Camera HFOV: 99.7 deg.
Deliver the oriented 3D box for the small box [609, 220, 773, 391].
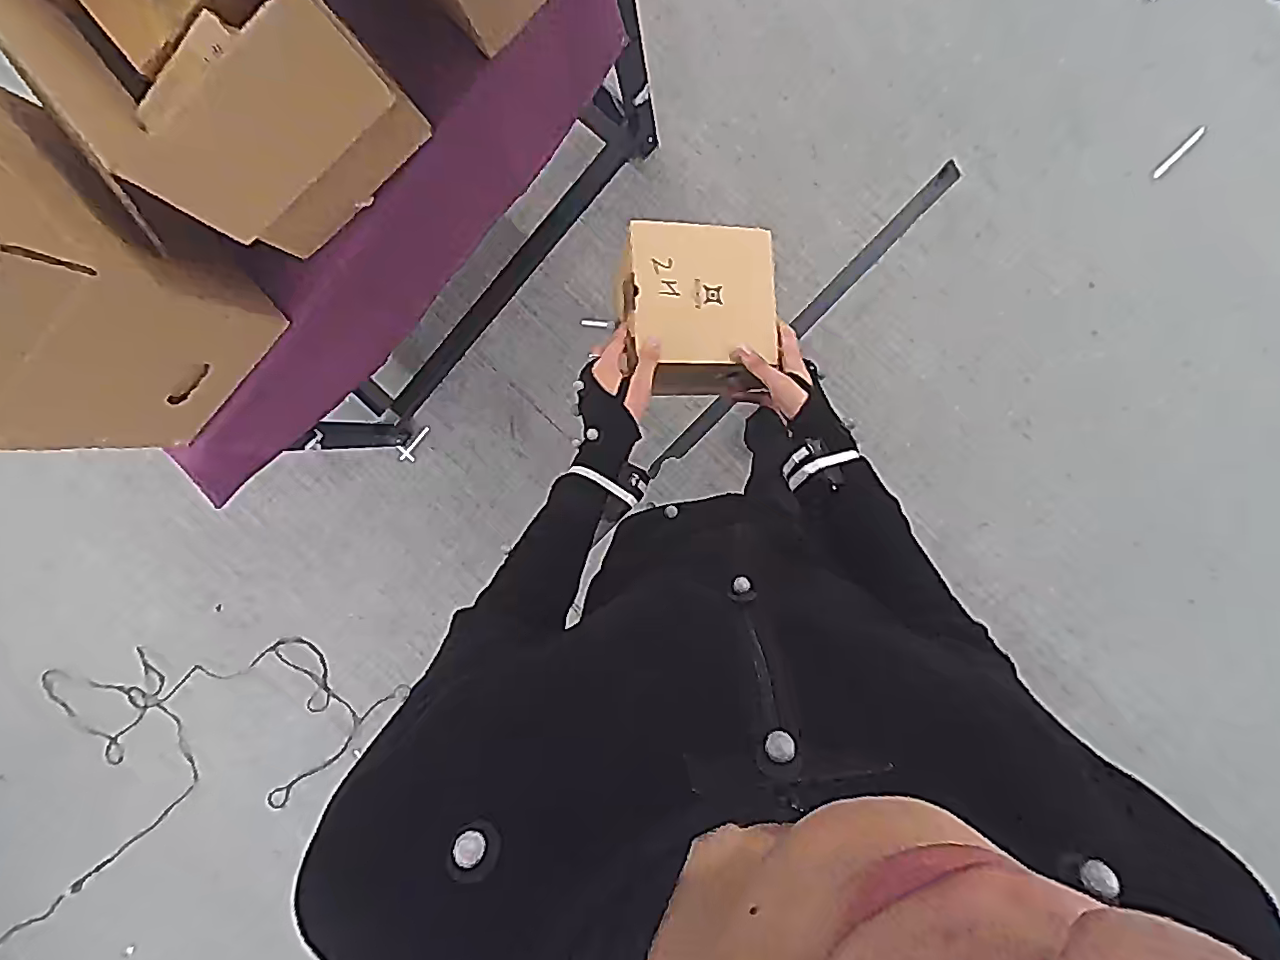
[{"bbox_3d":[0.057,-0.216,0.710,0.179,0.176,0.168,-3,87,-9],"label":"small box"}]
